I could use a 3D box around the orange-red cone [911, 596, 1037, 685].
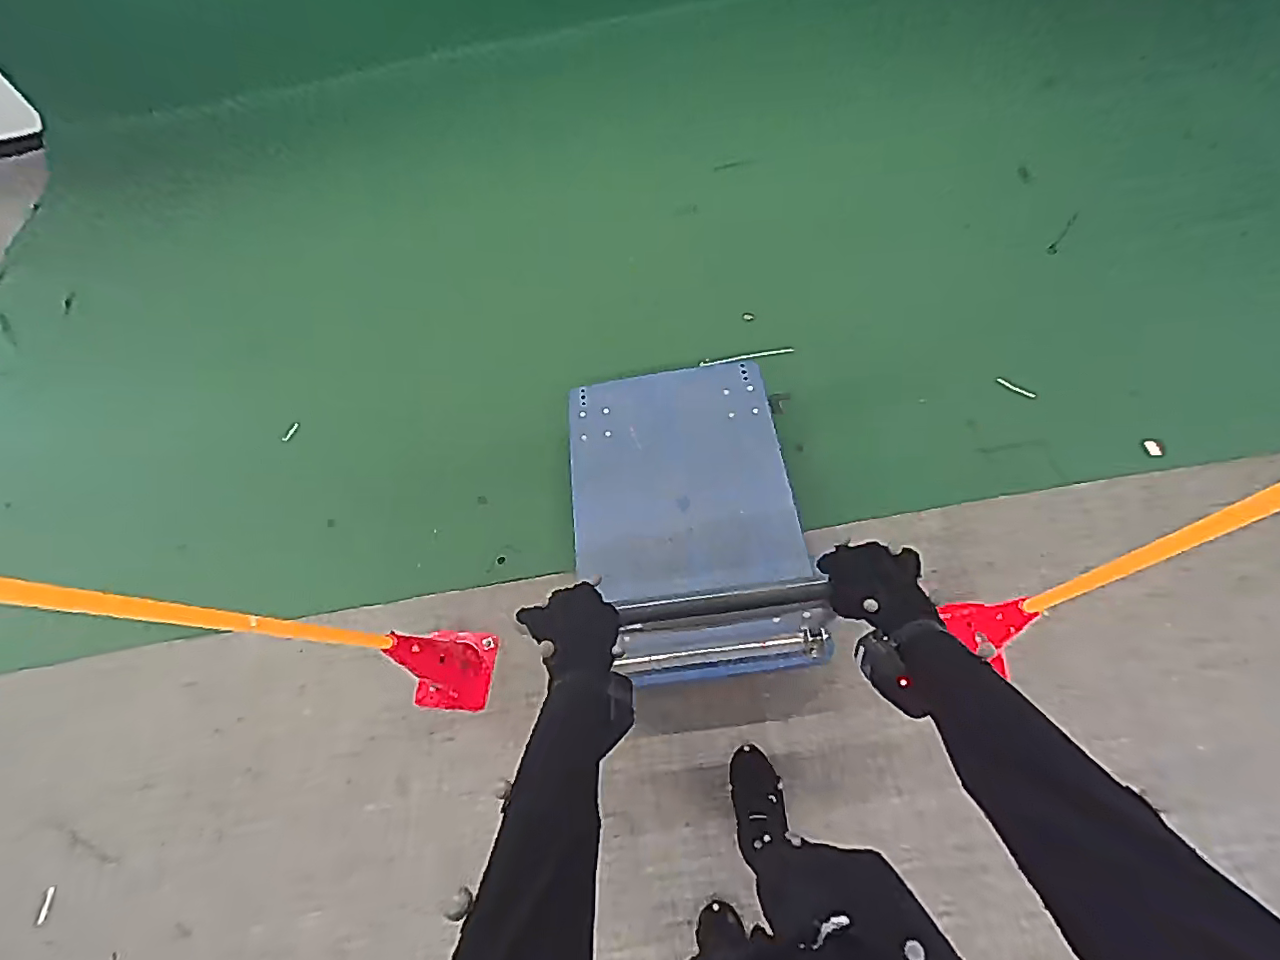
[{"bbox_3d":[0.767,0.324,1.193,0.198,0.360,0.199,0,63,8],"label":"orange-red cone"}]
